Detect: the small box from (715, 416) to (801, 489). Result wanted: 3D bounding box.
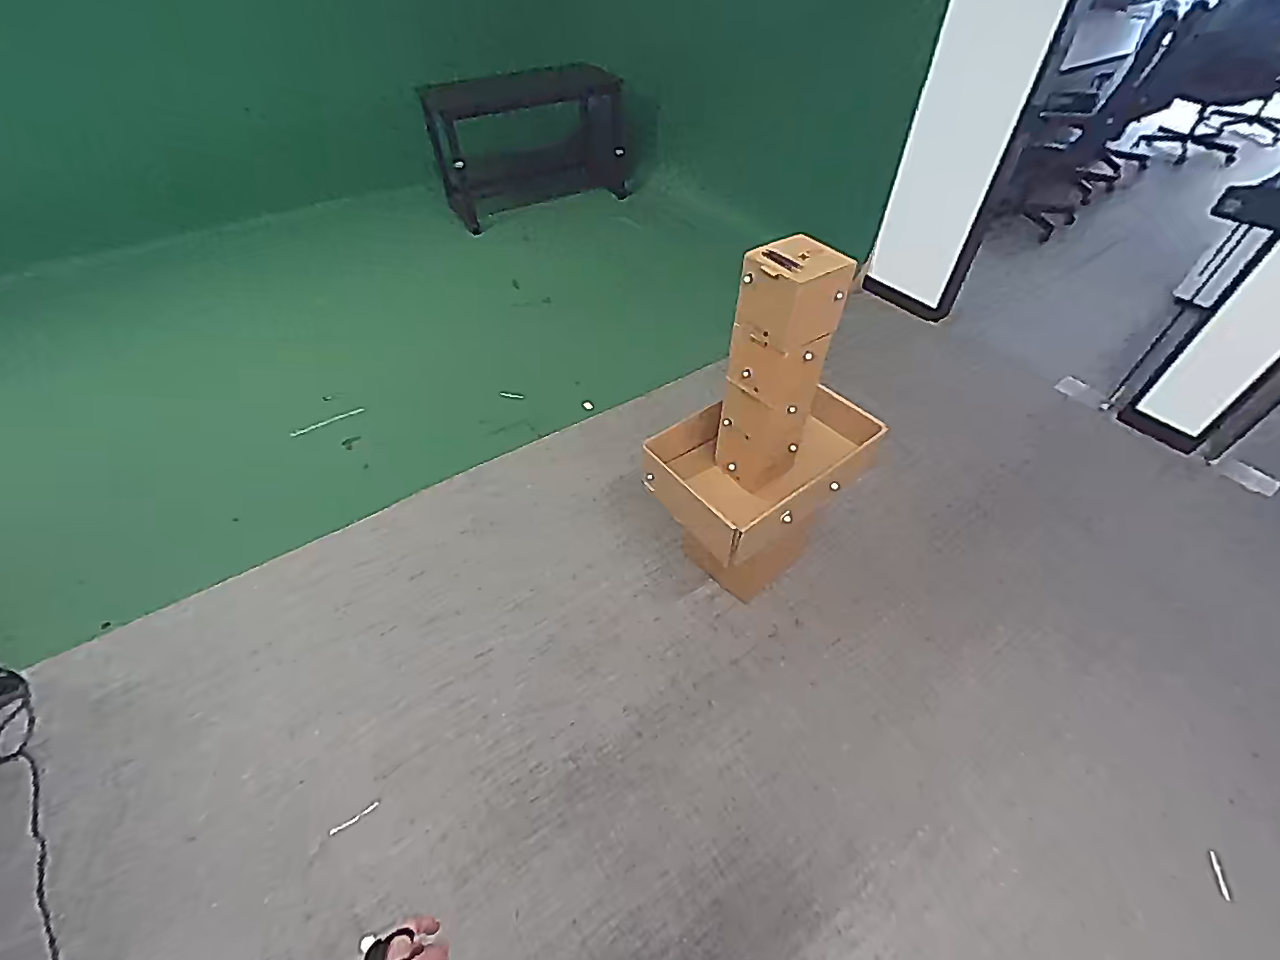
[{"bbox_3d":[0.337,-0.107,1.585,0.179,0.176,0.168,-29,53,-24],"label":"small box"}]

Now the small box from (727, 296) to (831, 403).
[{"bbox_3d":[0.336,-0.323,1.341,0.179,0.176,0.168,-32,56,-25],"label":"small box"}]

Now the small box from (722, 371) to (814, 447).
[{"bbox_3d":[0.337,-0.218,1.464,0.179,0.176,0.168,-30,55,-26],"label":"small box"}]
